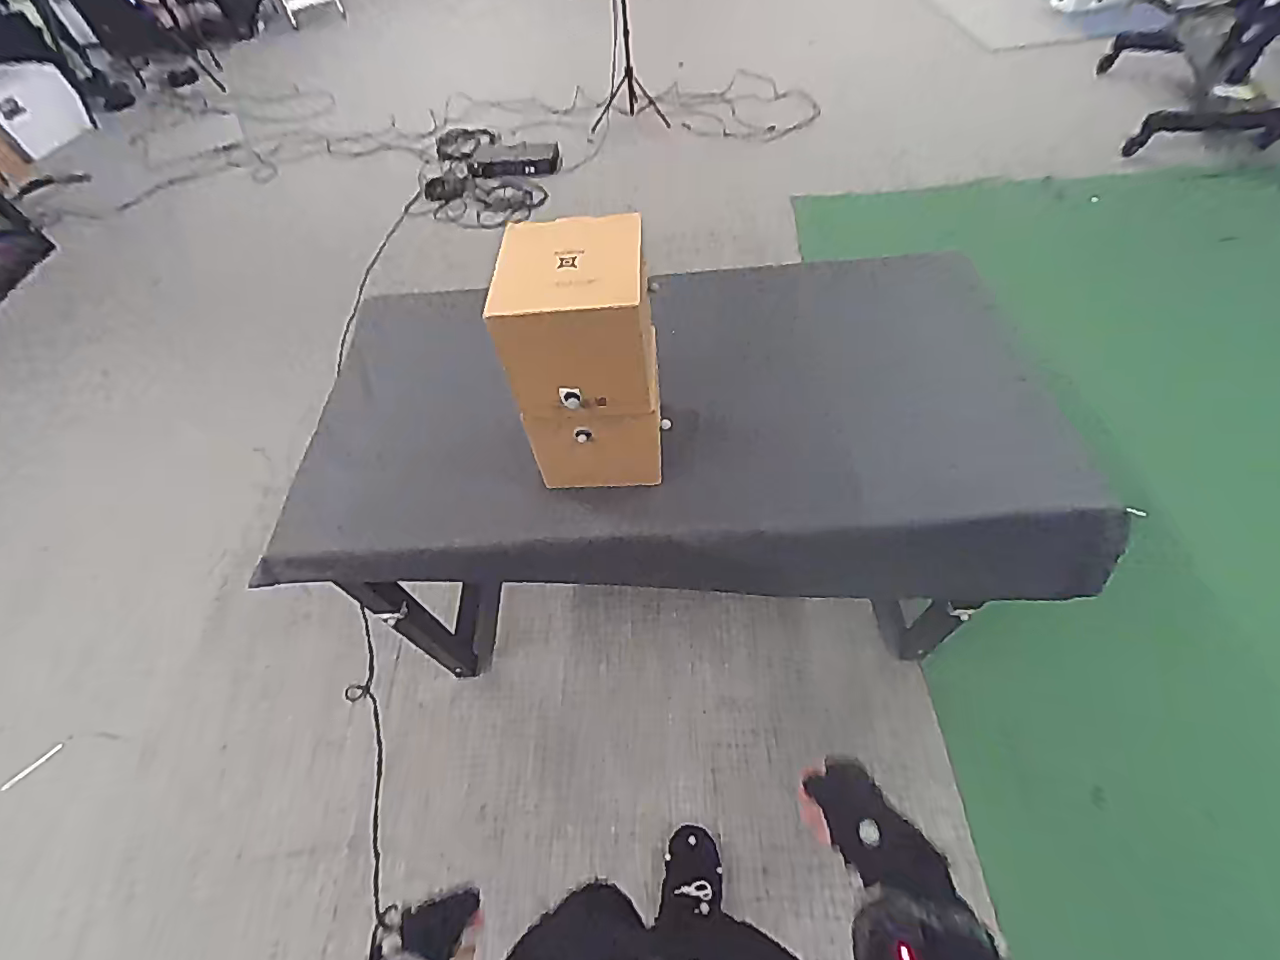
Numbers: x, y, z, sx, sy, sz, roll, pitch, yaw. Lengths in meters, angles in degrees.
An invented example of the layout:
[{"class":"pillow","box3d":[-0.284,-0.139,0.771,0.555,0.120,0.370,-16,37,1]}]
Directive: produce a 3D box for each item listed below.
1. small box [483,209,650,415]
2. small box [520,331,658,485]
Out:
[{"class":"small box","box3d":[-0.076,-0.203,0.667,0.168,0.176,0.179,-4,57,4]},{"class":"small box","box3d":[-0.065,-0.103,0.815,0.179,0.176,0.168,-2,56,3]}]
